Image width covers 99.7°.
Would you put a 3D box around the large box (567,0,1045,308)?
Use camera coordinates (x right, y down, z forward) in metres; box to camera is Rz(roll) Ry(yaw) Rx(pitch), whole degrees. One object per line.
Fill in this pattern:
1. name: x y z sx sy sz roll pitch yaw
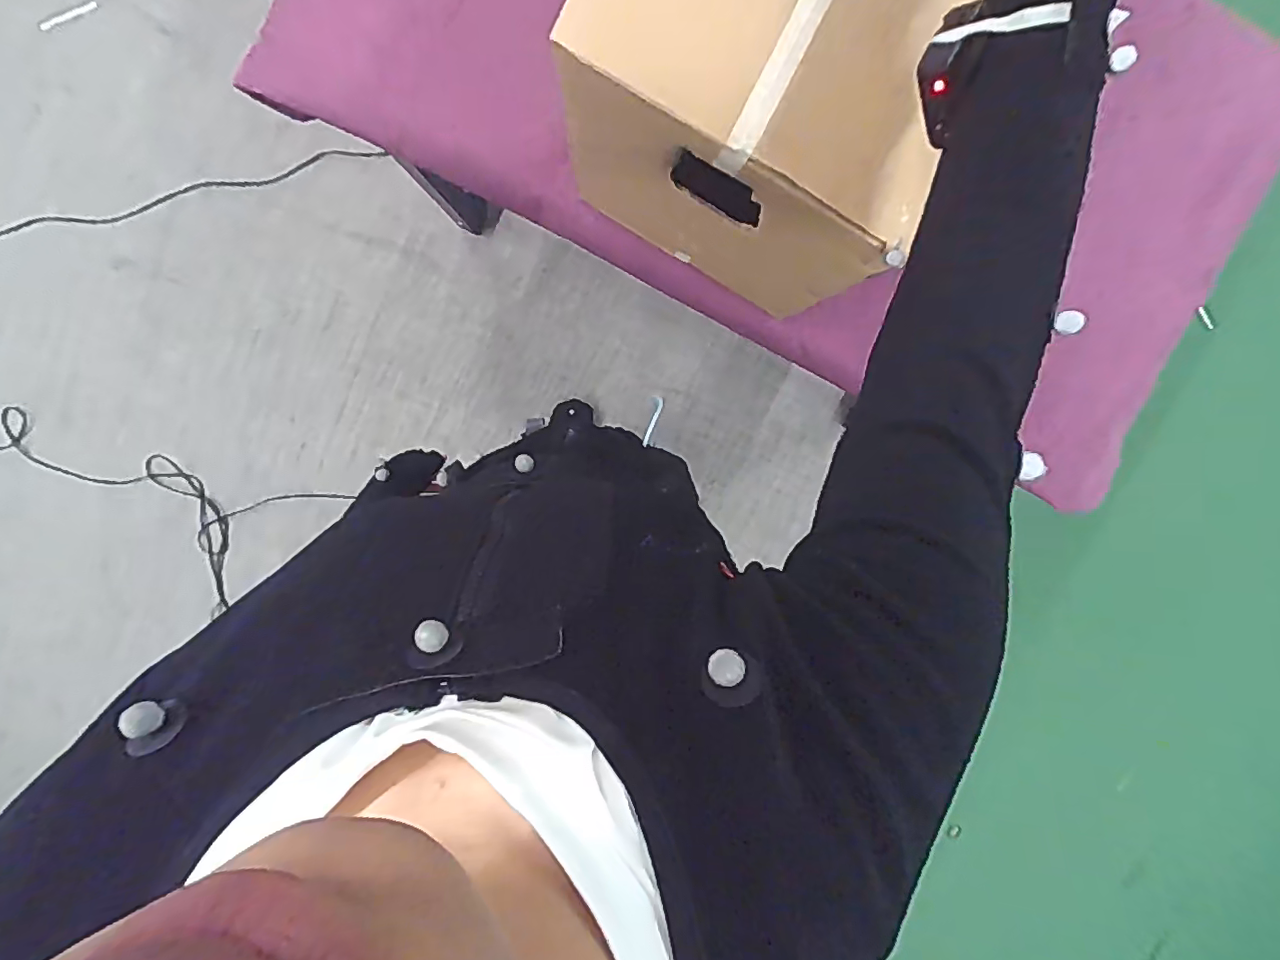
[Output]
1. large box: 0.160 -0.447 0.548 0.320 0.320 0.408 28 97 -7
